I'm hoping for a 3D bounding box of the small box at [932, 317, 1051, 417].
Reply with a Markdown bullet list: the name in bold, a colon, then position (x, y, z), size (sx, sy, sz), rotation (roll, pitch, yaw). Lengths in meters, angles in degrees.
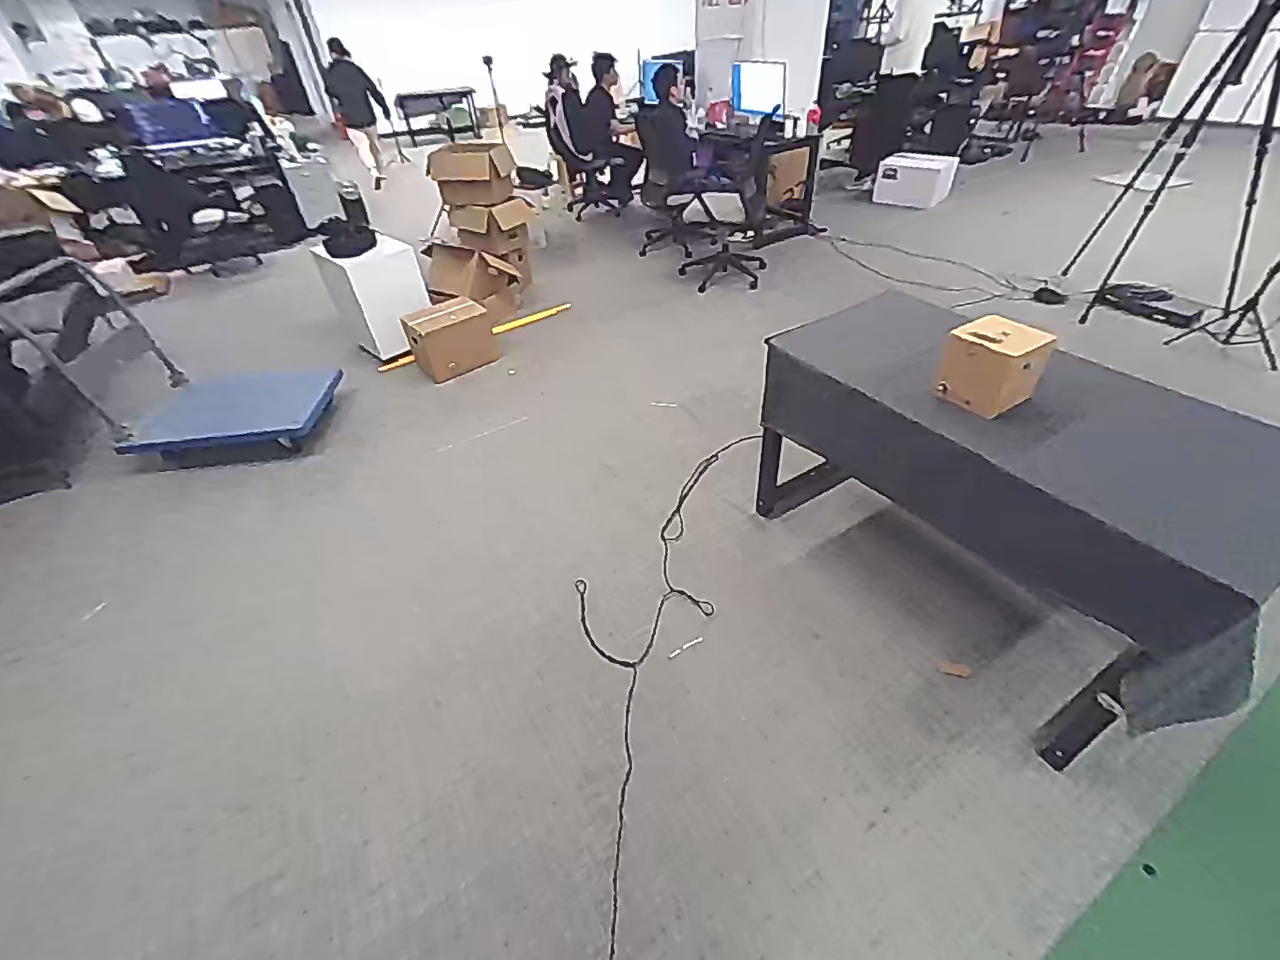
- **small box**: position (0.857, -0.278, 1.338), size (0.179, 0.176, 0.168), rotation (-24, 44, -22)
